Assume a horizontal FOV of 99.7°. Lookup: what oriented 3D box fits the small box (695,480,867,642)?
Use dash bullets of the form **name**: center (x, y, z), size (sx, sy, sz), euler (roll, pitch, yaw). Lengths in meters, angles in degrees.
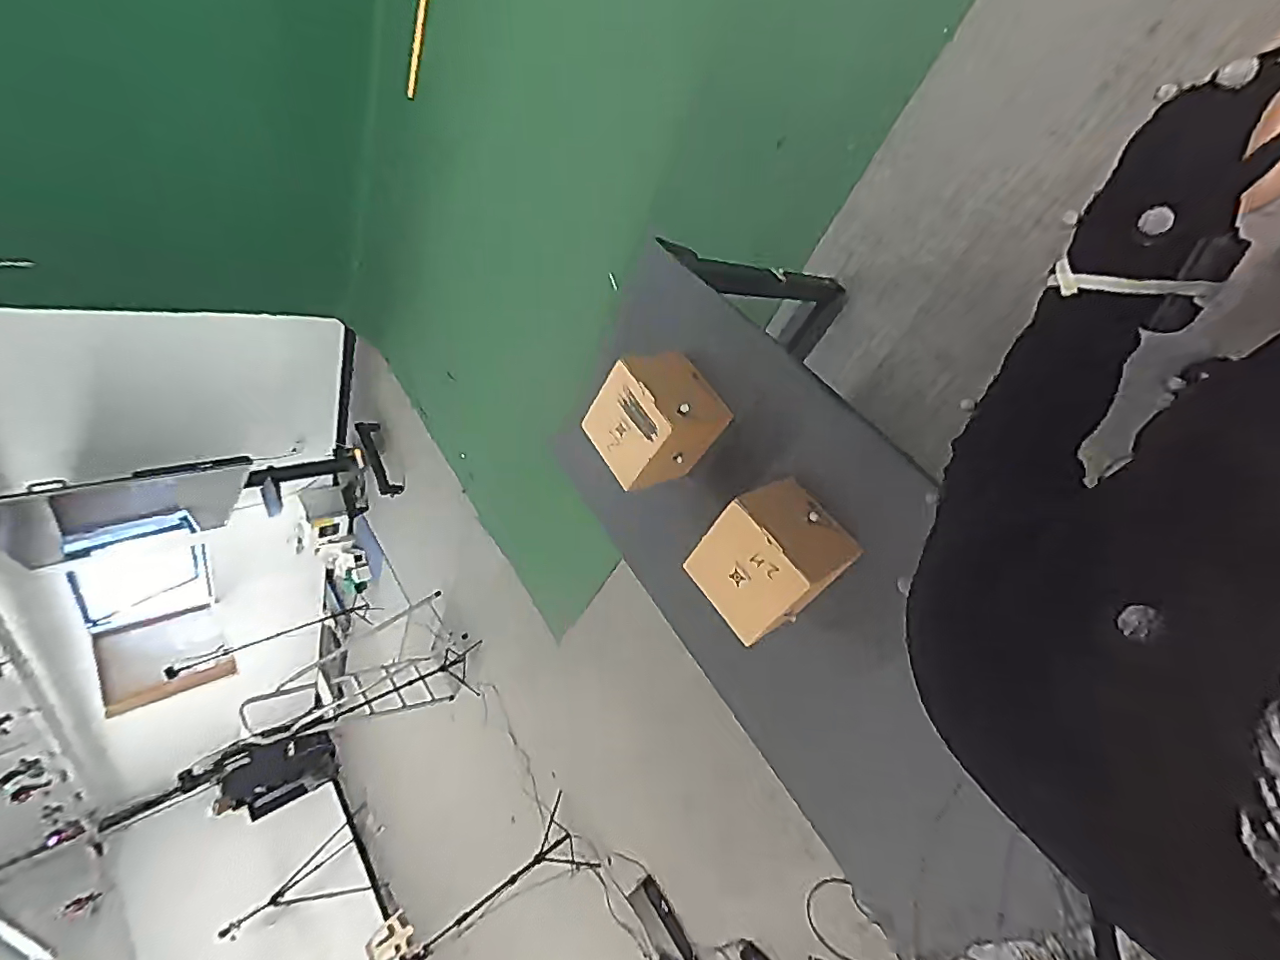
- **small box**: center (0.228, 0.125, 0.874), size (0.168, 0.176, 0.179), euler (50, 133, 24)
